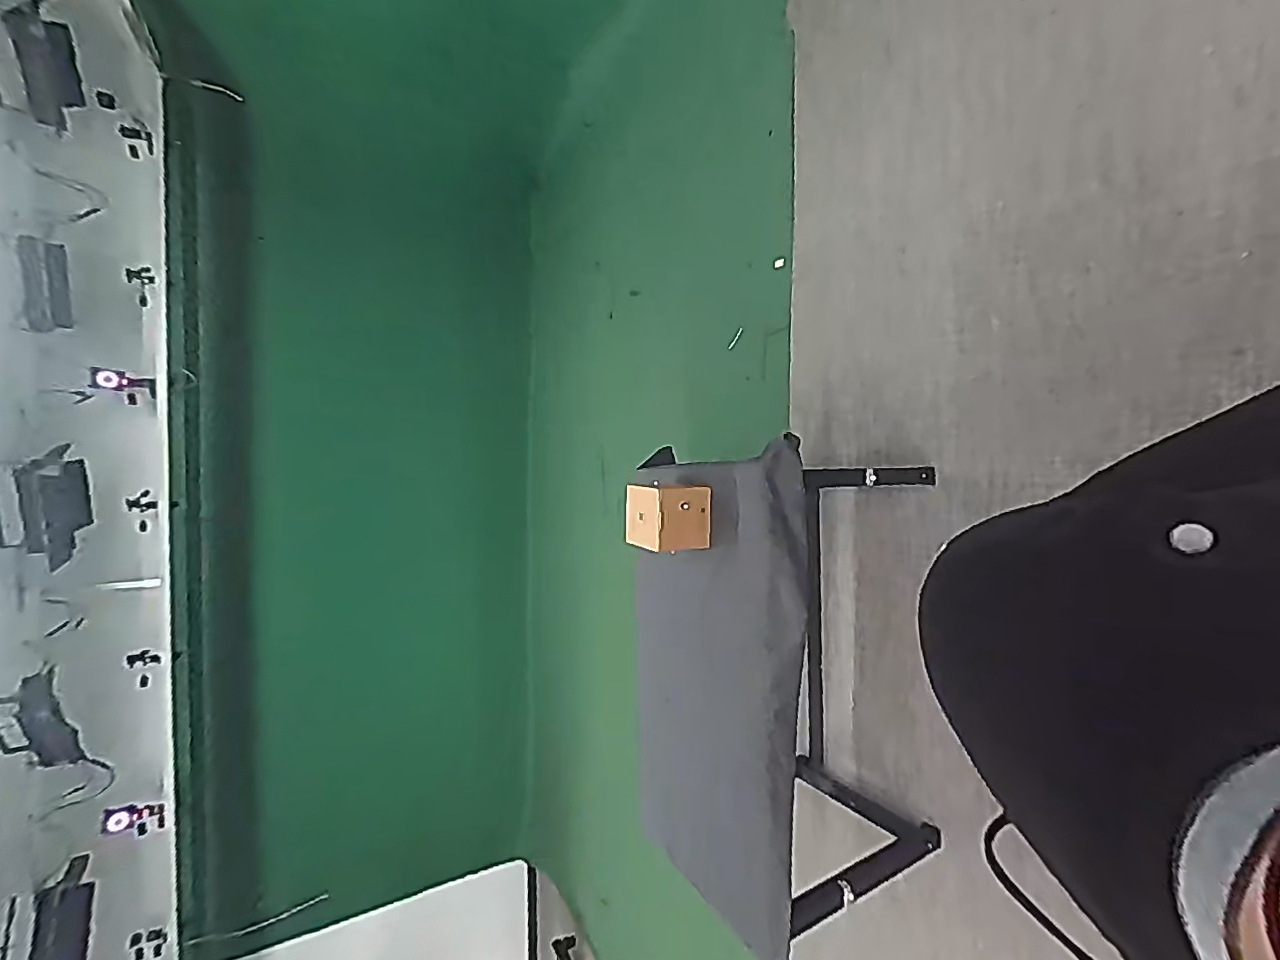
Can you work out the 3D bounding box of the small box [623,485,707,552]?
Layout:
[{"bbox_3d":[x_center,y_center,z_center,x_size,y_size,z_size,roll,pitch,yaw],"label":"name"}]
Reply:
[{"bbox_3d":[0.070,0.100,1.488,0.179,0.176,0.168,6,94,61],"label":"small box"}]
